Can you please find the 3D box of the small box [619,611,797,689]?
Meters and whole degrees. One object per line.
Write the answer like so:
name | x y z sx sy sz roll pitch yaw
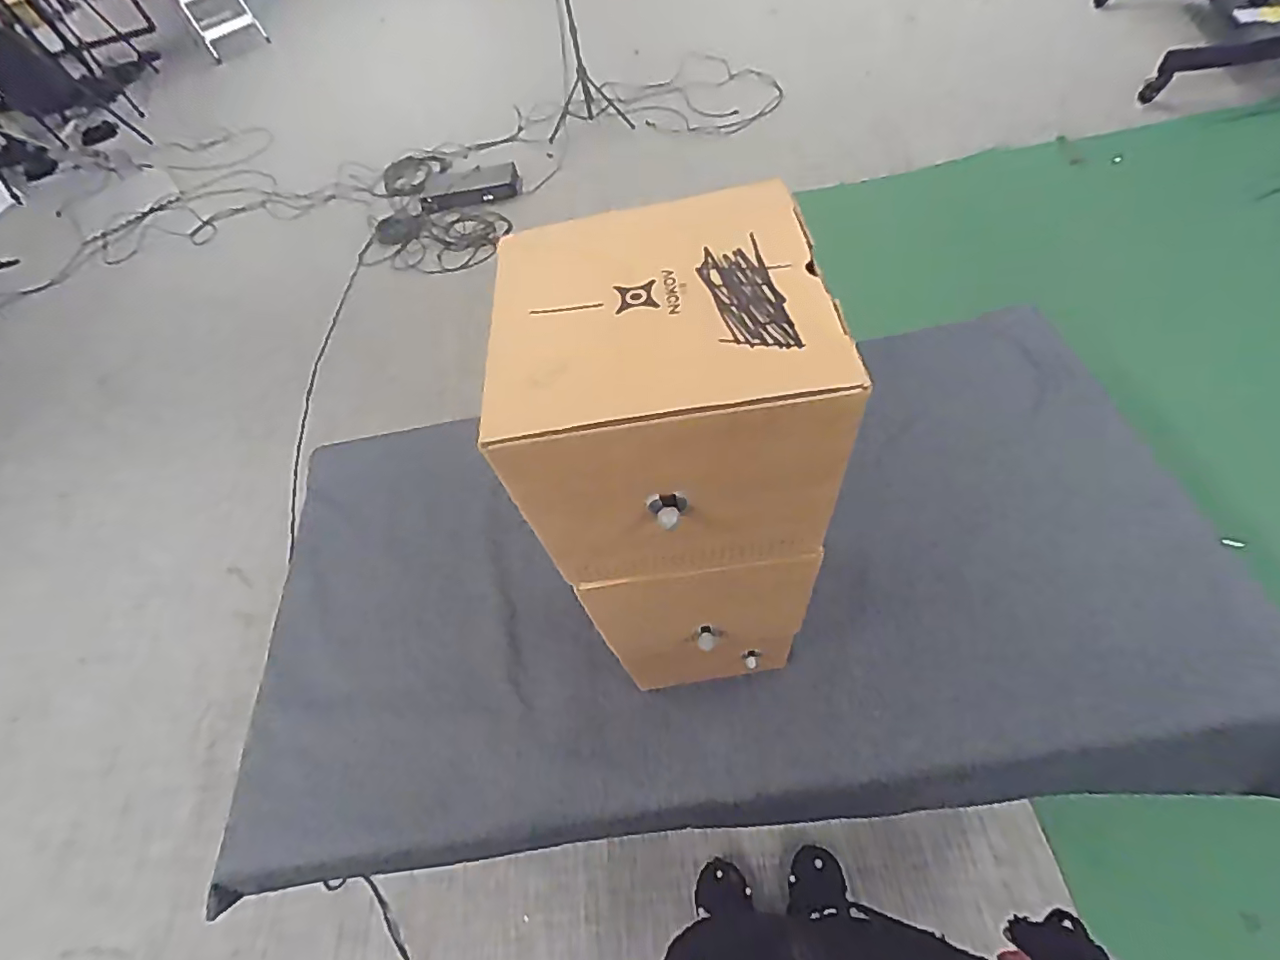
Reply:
small box | 0.067 0.130 0.628 0.179 0.176 0.168 -12 55 4

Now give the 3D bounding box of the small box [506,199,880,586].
small box | 0.022 -0.046 0.354 0.179 0.176 0.168 -10 56 1

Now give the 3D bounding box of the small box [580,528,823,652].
small box | 0.045 0.044 0.490 0.179 0.176 0.168 -9 55 3
